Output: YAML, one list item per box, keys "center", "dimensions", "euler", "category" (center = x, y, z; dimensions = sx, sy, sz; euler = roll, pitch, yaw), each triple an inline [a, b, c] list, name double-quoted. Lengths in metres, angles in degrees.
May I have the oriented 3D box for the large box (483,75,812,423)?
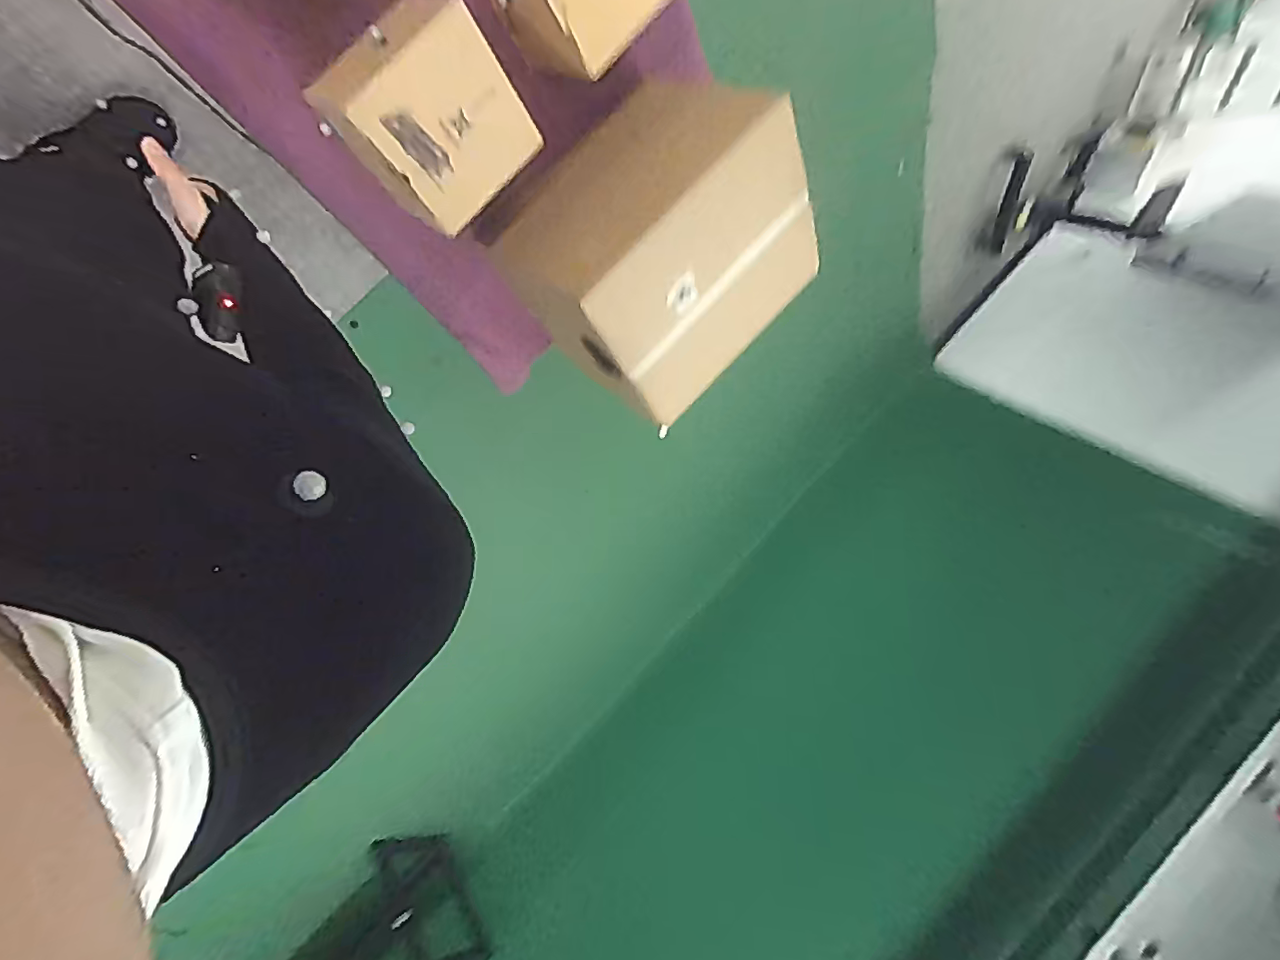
- center: [0.024, -0.386, 0.918]
  dimensions: [0.408, 0.320, 0.320]
  euler: [-46, 143, -4]
  category: "large box"
